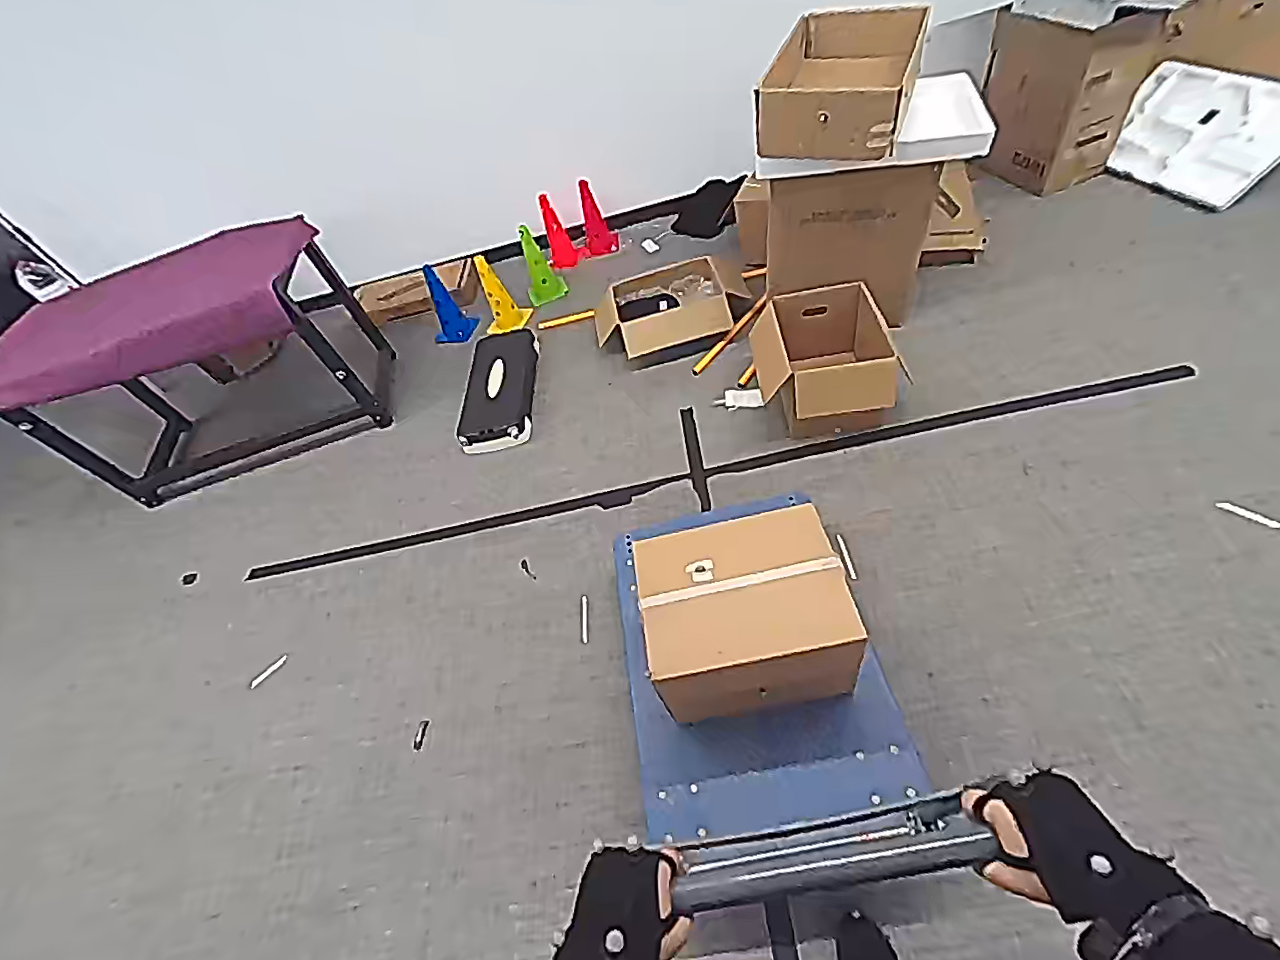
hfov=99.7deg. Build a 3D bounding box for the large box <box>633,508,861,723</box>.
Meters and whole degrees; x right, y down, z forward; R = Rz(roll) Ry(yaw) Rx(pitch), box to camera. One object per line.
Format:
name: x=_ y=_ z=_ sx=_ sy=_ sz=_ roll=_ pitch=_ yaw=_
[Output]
large box: x=0.230 y=0.312 z=1.211 sx=0.408 sy=0.320 sz=0.320 roll=-14 pitch=49 yaw=6
